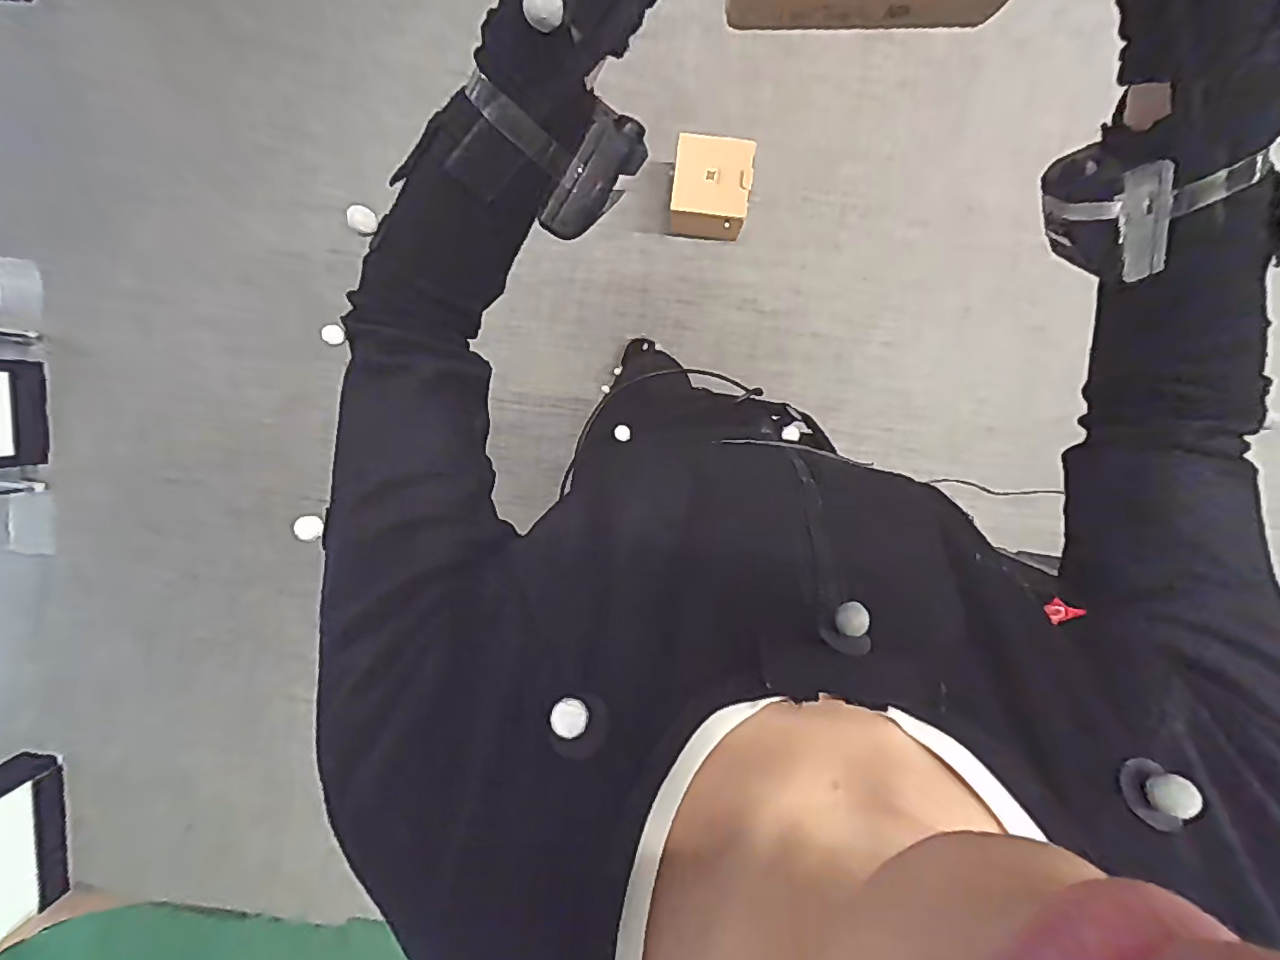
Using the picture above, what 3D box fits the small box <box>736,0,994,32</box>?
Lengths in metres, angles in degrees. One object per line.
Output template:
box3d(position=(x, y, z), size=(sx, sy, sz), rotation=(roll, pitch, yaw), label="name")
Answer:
box3d(position=(0.134, -0.359, 0.252), size=(0.168, 0.176, 0.179), rotation=(4, 104, 5), label="small box")

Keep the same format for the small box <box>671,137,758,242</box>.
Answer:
box3d(position=(0.171, -0.686, 1.294), size=(0.179, 0.176, 0.168), rotation=(8, 98, 2), label="small box")
